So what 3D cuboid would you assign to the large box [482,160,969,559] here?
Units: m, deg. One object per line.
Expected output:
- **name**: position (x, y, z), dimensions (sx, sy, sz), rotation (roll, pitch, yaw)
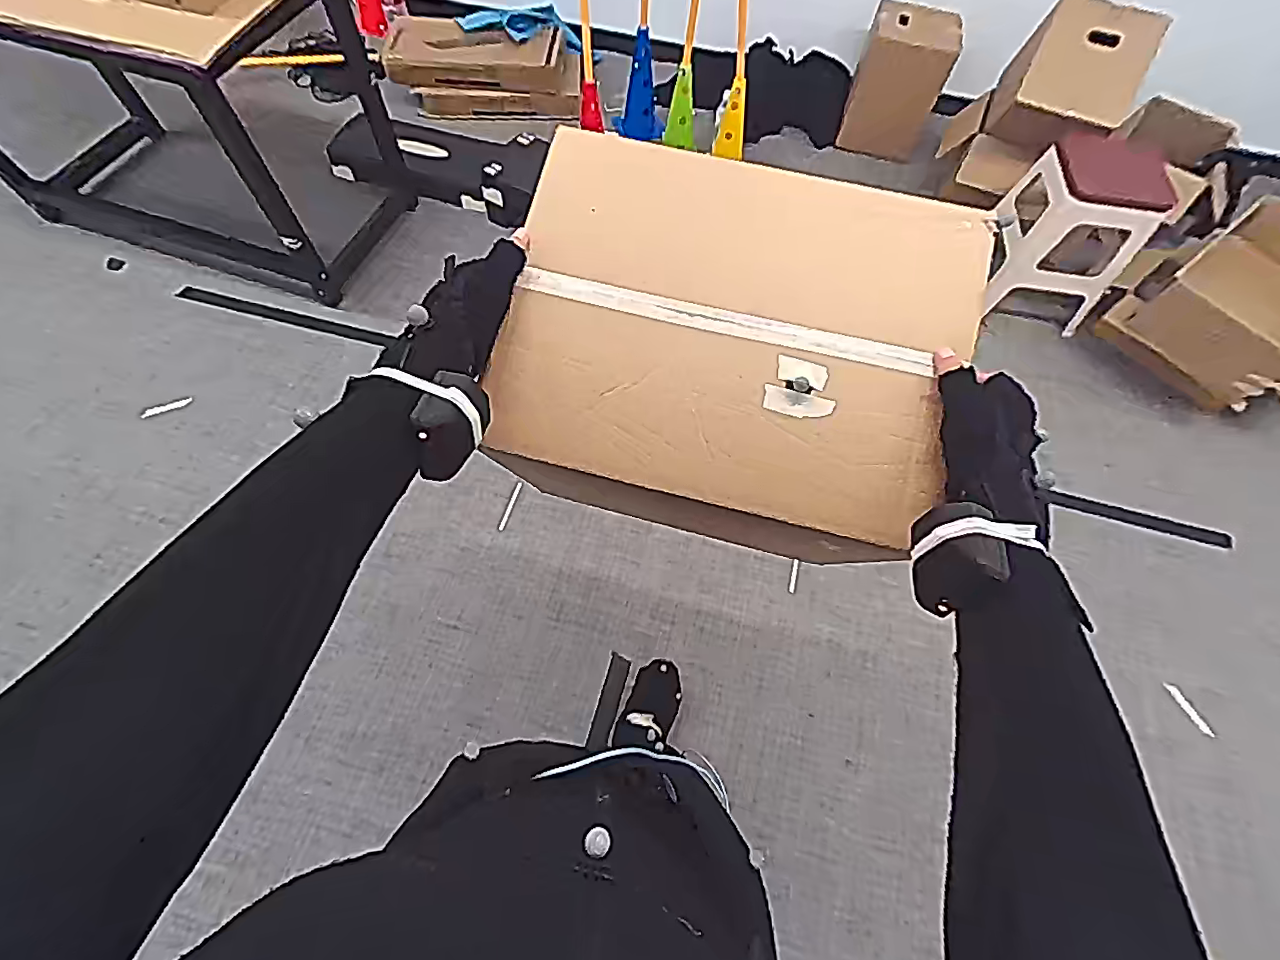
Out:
- **large box**: position (0.084, -0.102, 0.641), dimensions (0.408, 0.320, 0.320), rotation (14, 82, 3)
